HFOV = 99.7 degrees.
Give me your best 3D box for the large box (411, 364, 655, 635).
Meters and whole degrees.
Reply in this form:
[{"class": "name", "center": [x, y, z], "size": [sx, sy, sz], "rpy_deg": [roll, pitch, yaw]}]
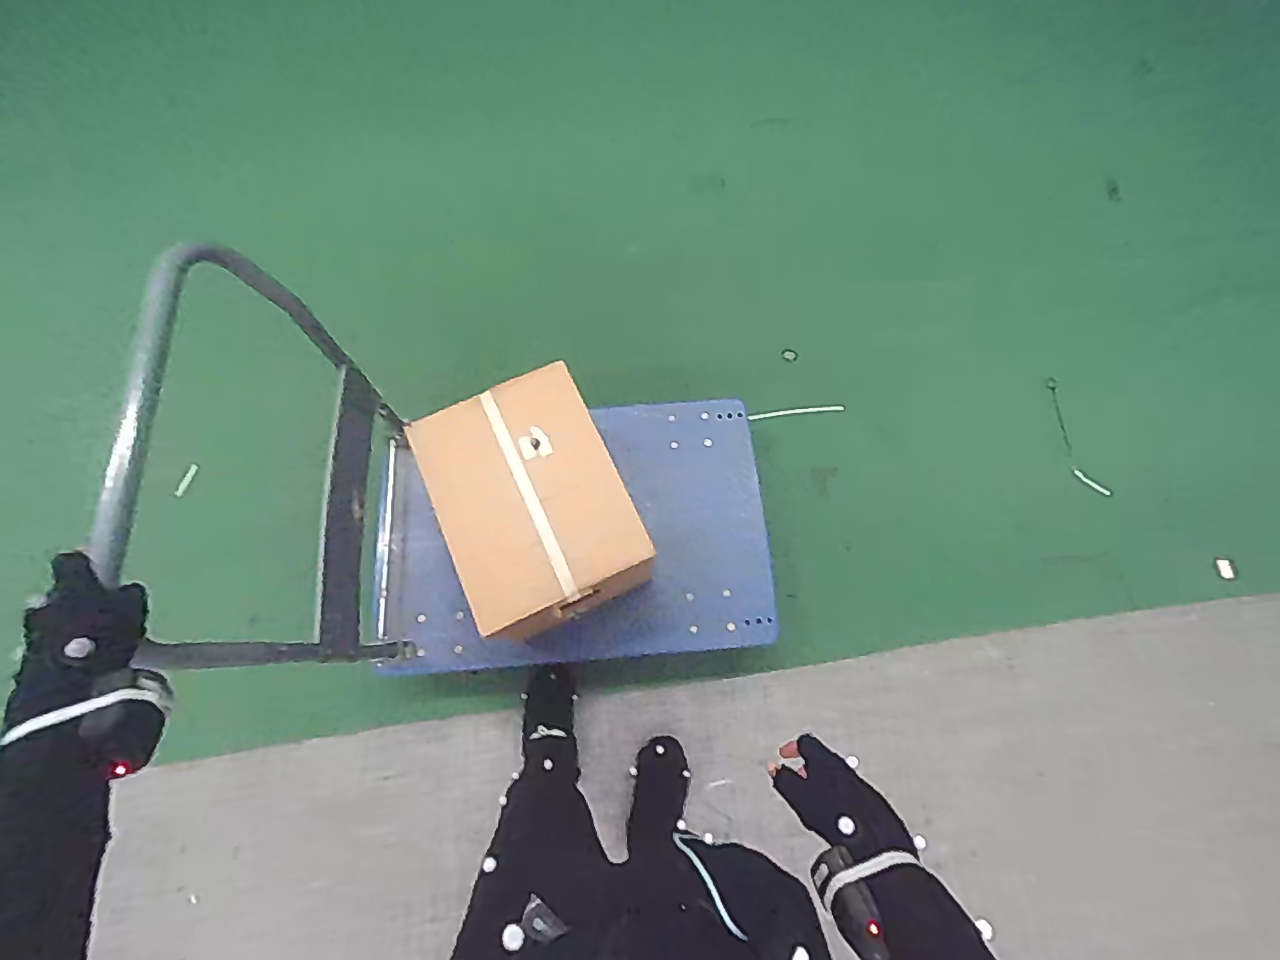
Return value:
[{"class": "large box", "center": [-0.190, 0.057, 1.080], "size": [0.320, 0.320, 0.408], "rpy_deg": [-24, 73, -7]}]
